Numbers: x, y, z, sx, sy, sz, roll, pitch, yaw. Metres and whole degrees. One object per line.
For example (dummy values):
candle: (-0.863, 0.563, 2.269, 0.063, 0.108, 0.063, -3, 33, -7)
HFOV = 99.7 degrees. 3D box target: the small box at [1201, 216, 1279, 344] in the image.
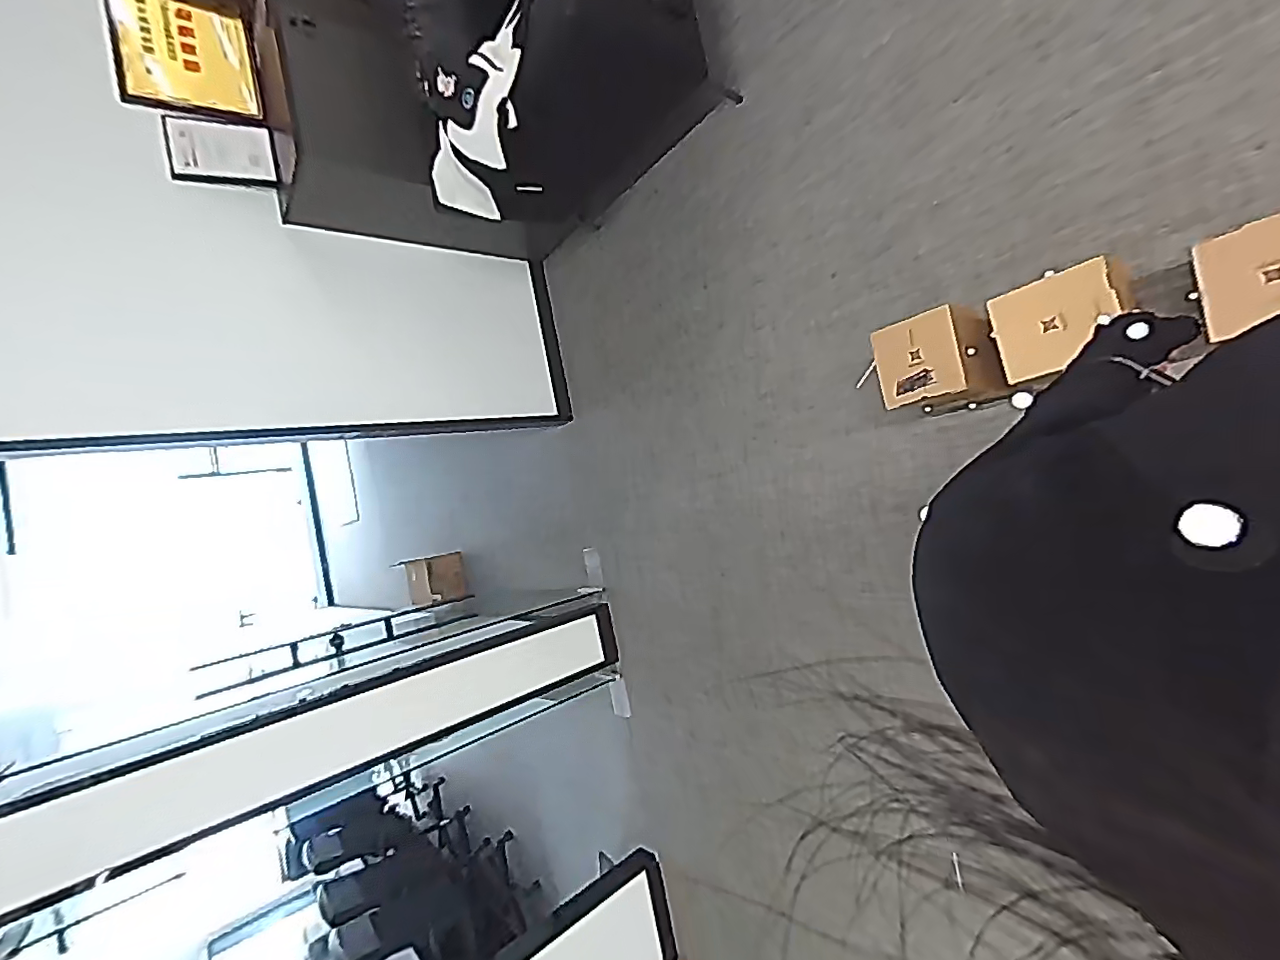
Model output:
small box: (1.075, -0.338, 0.904, 0.168, 0.176, 0.179, -13, 87, 50)

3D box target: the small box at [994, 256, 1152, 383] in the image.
small box: (0.792, -0.281, 0.991, 0.179, 0.176, 0.168, -19, 83, 49)

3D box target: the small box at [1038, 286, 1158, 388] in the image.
small box: (0.913, -0.294, 1.099, 0.168, 0.176, 0.179, -17, 83, 51)
